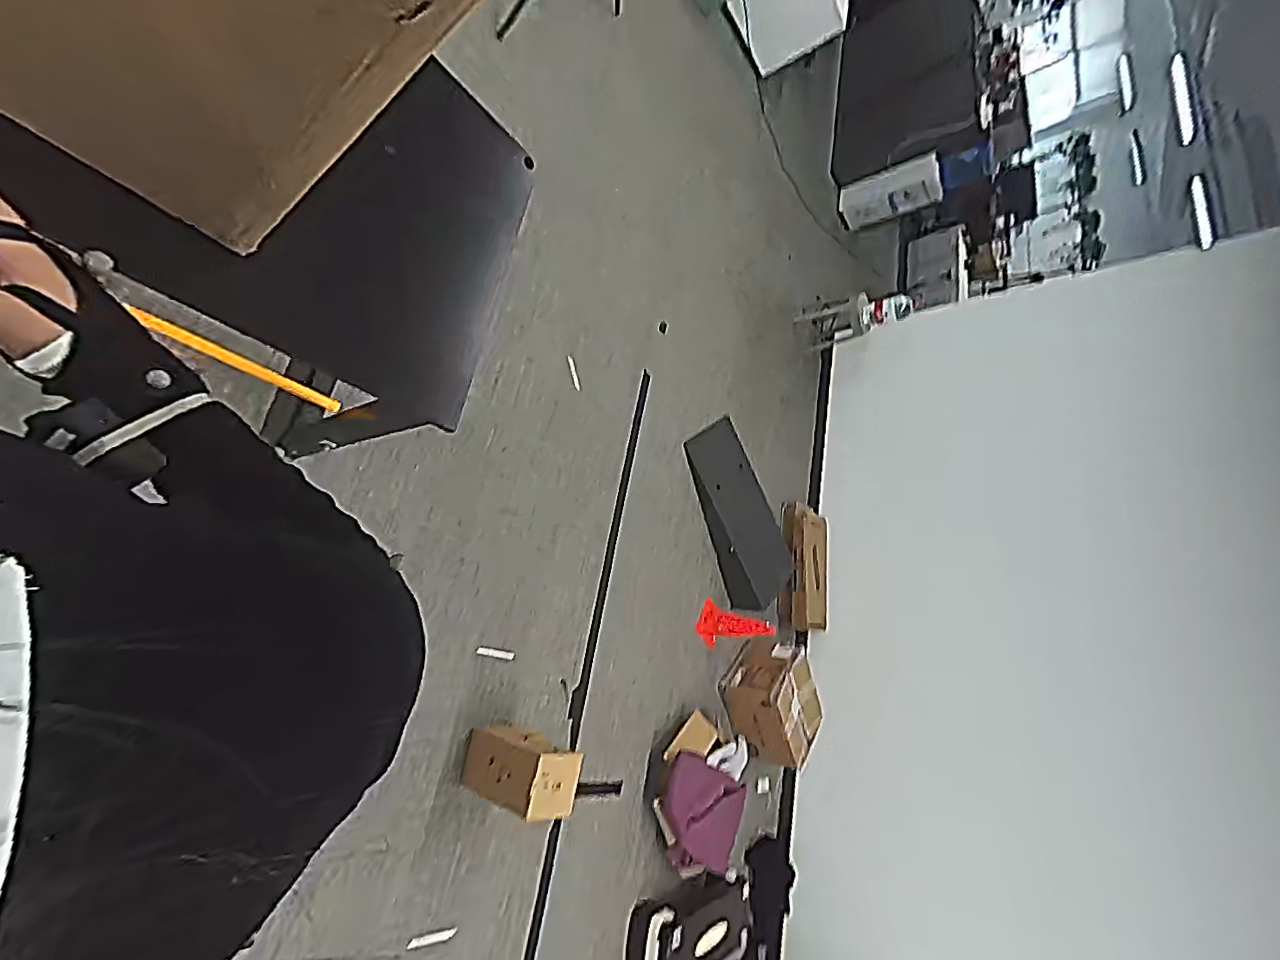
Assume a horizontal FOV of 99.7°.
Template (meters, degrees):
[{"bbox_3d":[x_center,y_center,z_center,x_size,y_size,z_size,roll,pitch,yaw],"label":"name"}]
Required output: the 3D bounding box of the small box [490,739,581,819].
[{"bbox_3d":[-0.306,0.870,1.586,0.179,0.176,0.168,31,63,-45],"label":"small box"}]

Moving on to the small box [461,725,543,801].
[{"bbox_3d":[-0.432,0.875,1.691,0.168,0.176,0.179,26,68,-46],"label":"small box"}]
